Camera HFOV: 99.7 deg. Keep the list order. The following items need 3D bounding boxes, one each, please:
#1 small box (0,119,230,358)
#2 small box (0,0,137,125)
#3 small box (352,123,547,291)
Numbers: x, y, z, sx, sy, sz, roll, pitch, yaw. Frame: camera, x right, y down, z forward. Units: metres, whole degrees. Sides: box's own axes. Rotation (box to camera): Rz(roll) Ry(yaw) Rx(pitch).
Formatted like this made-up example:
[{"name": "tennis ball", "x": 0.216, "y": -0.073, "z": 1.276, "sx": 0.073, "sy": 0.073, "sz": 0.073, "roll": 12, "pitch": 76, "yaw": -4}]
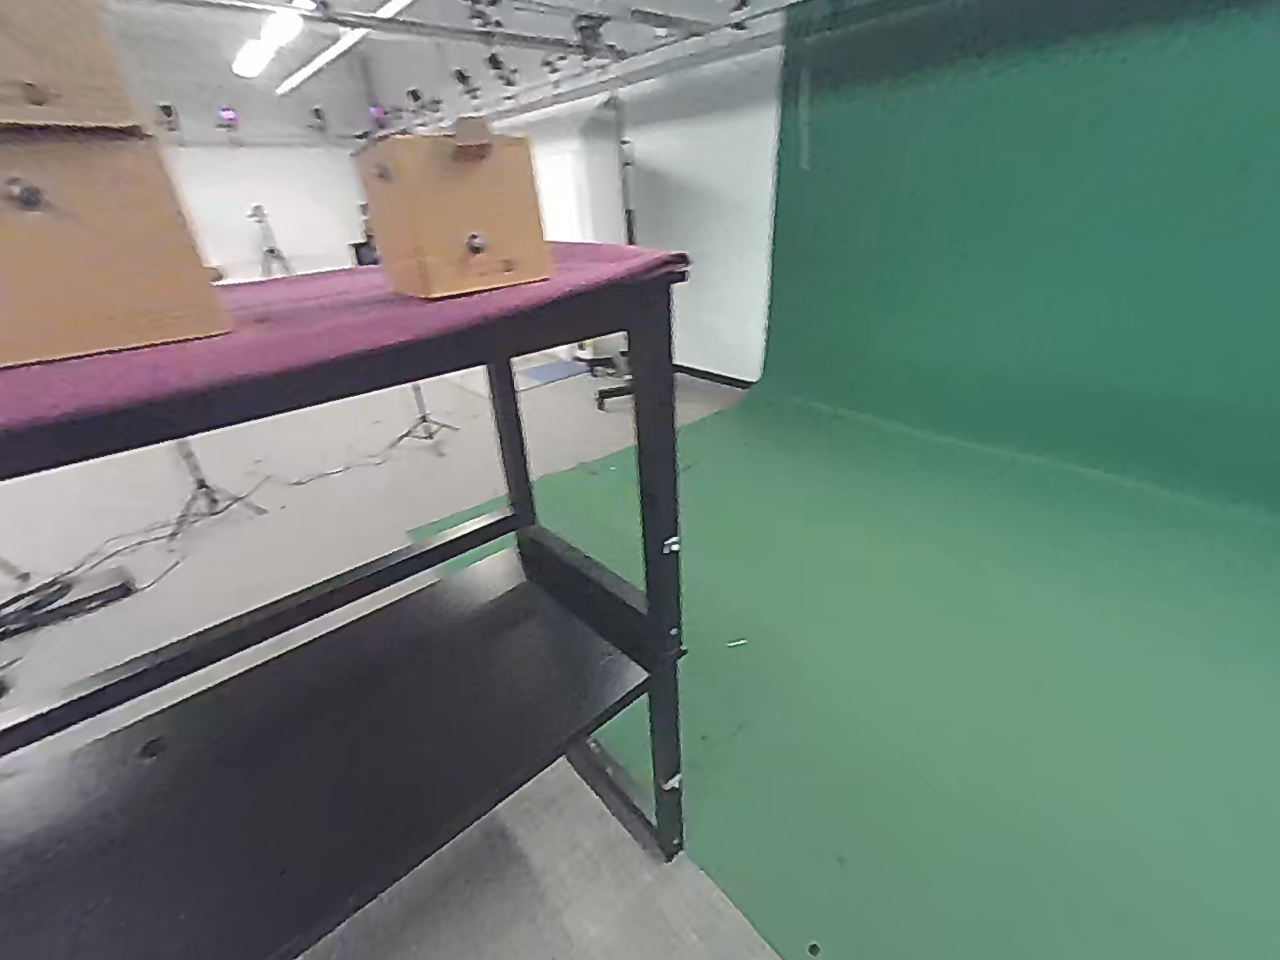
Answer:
[{"name": "small box", "x": -0.515, "y": -0.217, "z": 0.492, "sx": 0.179, "sy": 0.176, "sz": 0.168, "roll": -23, "pitch": 32, "yaw": -34}, {"name": "small box", "x": -0.524, "y": -0.357, "z": 0.407, "sx": 0.179, "sy": 0.176, "sz": 0.168, "roll": 22, "pitch": 37, "yaw": 40}, {"name": "small box", "x": -0.239, "y": -0.339, "z": 0.688, "sx": 0.168, "sy": 0.176, "sz": 0.179, "roll": -24, "pitch": 32, "yaw": -31}]
